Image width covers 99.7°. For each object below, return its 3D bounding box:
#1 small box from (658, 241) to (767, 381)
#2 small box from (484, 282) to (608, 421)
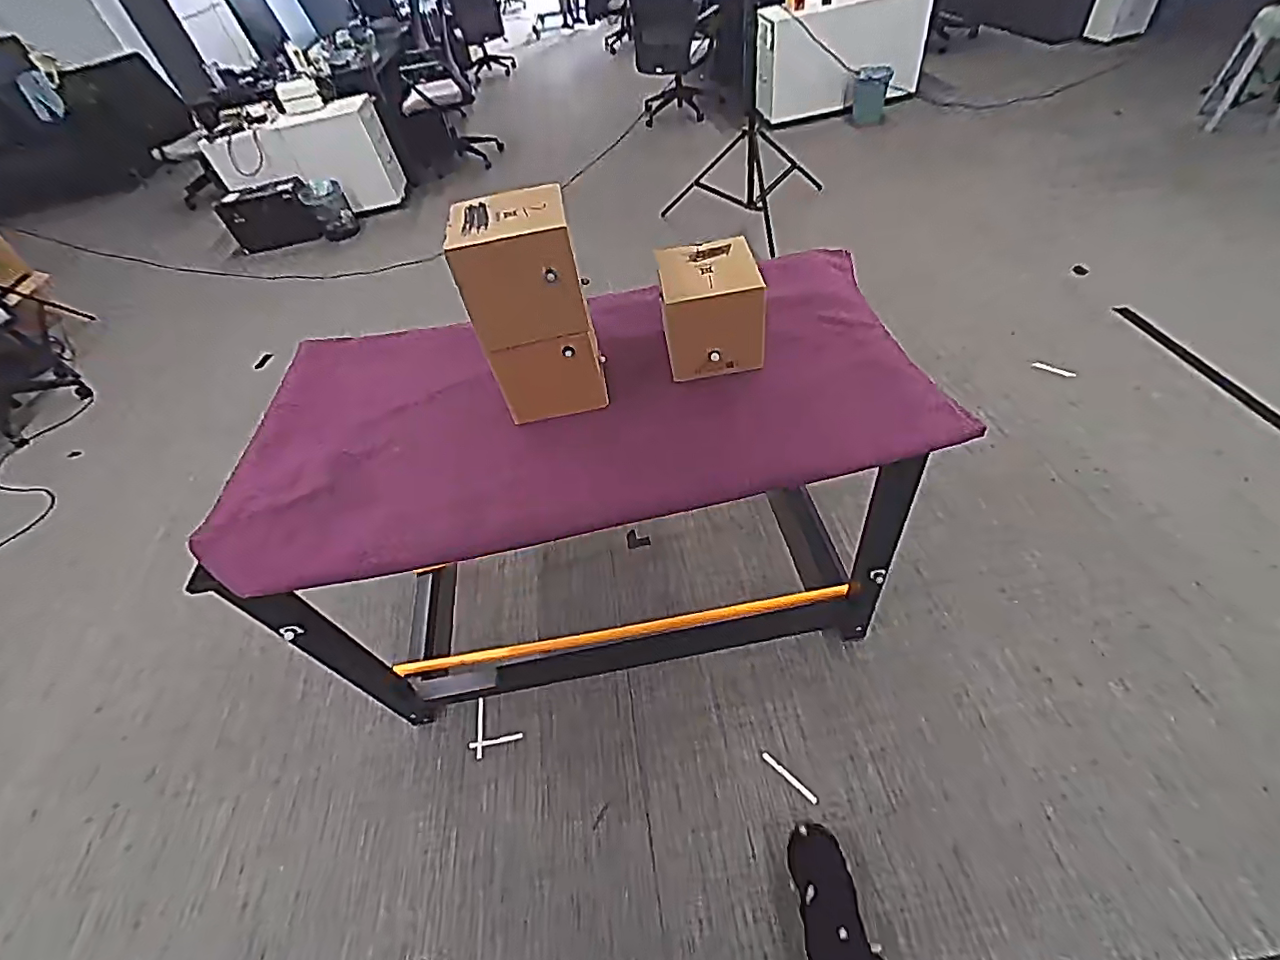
[{"bbox_3d":[0.128,-0.306,0.986,0.168,0.176,0.179,-9,49,3],"label":"small box"},{"bbox_3d":[-0.164,-0.226,0.976,0.179,0.176,0.168,-11,48,0],"label":"small box"}]
